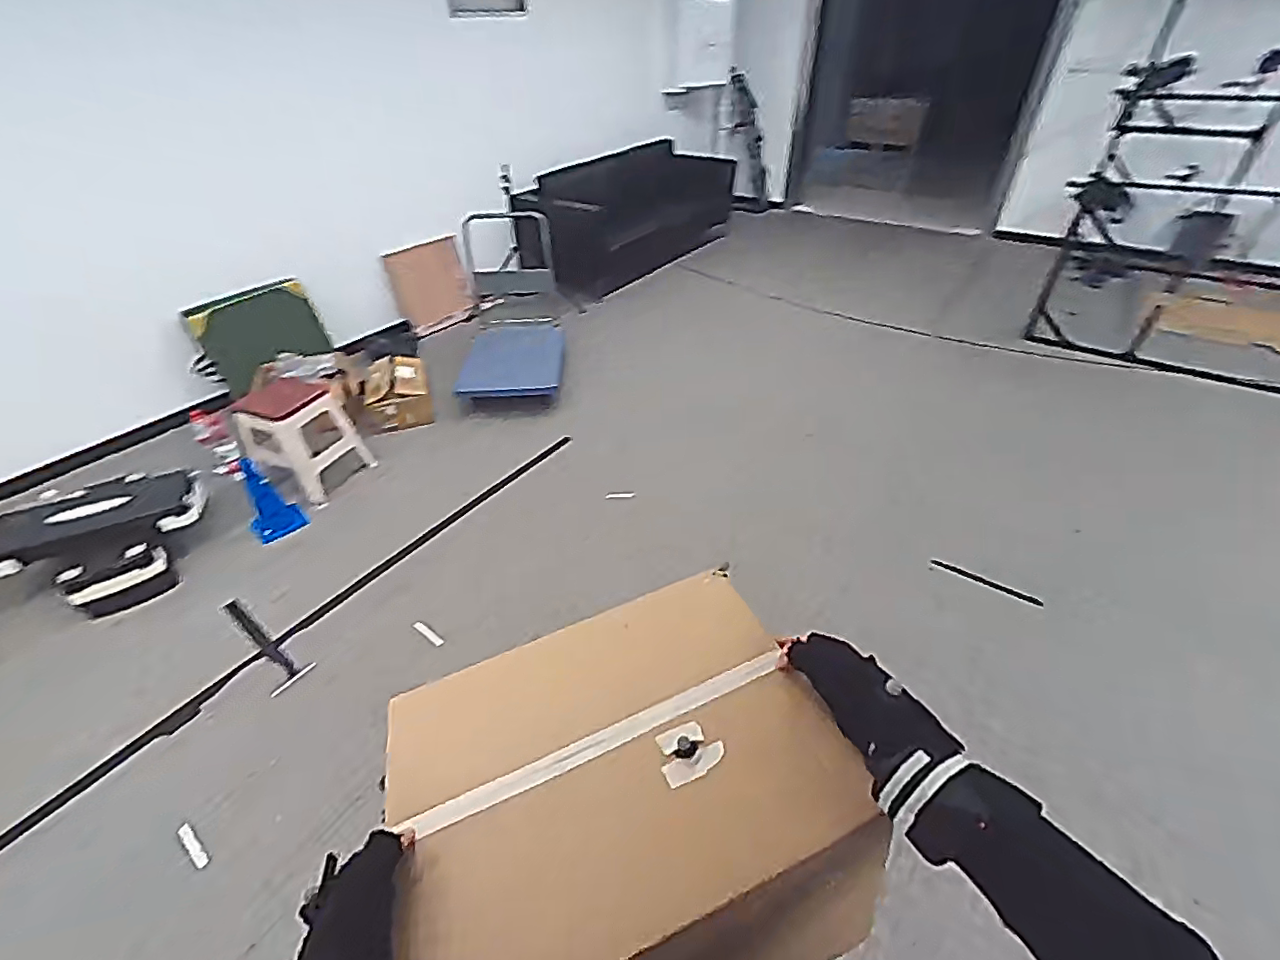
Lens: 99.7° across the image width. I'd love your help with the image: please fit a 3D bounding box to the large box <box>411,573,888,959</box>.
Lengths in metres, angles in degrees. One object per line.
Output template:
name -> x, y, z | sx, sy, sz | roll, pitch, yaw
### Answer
large box -> 0.001, 0.378, 0.612 | 0.408, 0.320, 0.320 | -20, 35, -12
